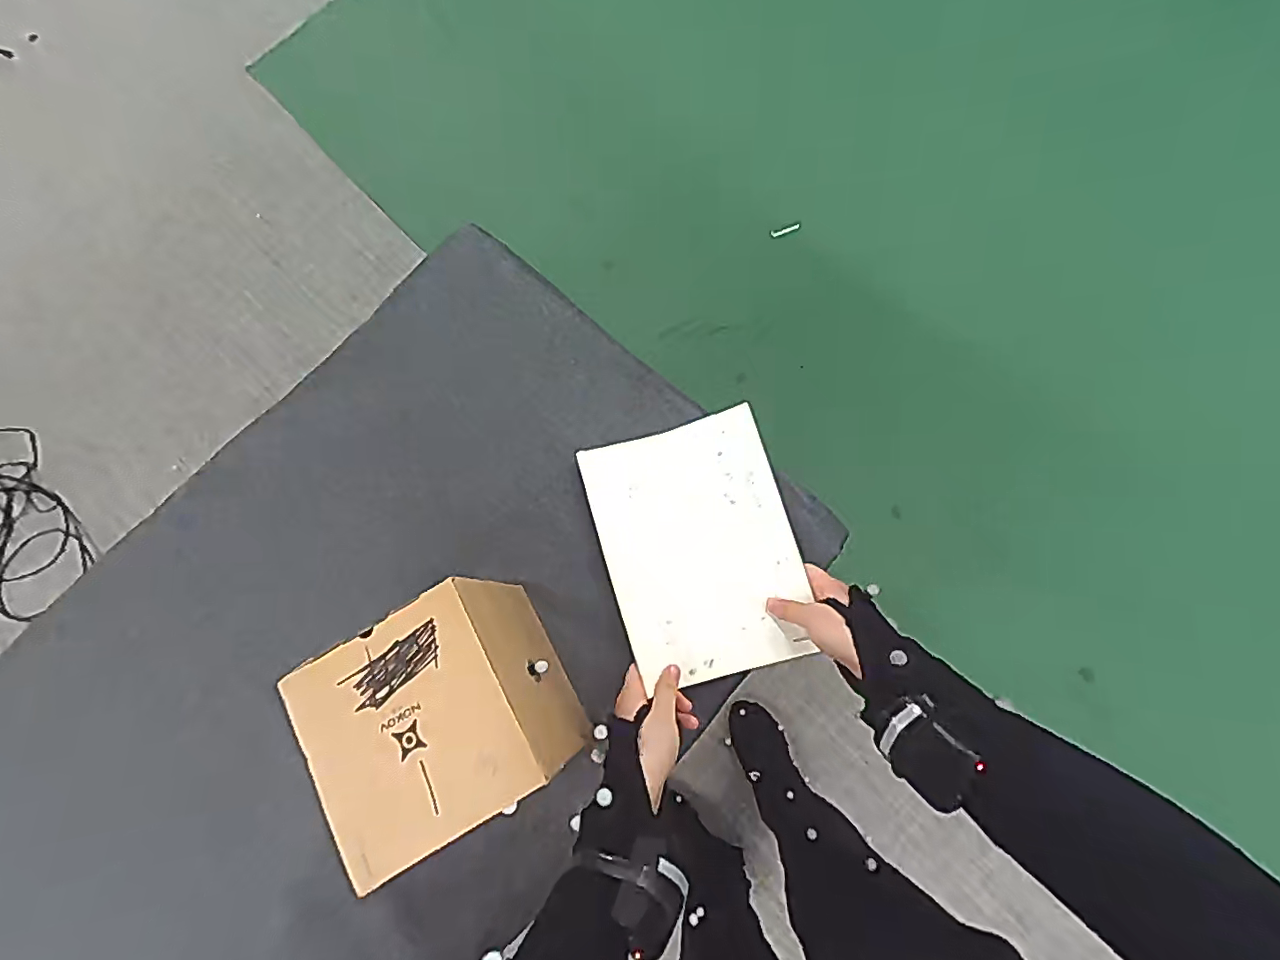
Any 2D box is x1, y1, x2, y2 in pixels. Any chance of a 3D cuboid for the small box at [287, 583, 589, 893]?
[{"bbox_3d":[-0.169,0.215,0.500,0.168,0.176,0.179,-32,76,0],"label":"small box"}]
